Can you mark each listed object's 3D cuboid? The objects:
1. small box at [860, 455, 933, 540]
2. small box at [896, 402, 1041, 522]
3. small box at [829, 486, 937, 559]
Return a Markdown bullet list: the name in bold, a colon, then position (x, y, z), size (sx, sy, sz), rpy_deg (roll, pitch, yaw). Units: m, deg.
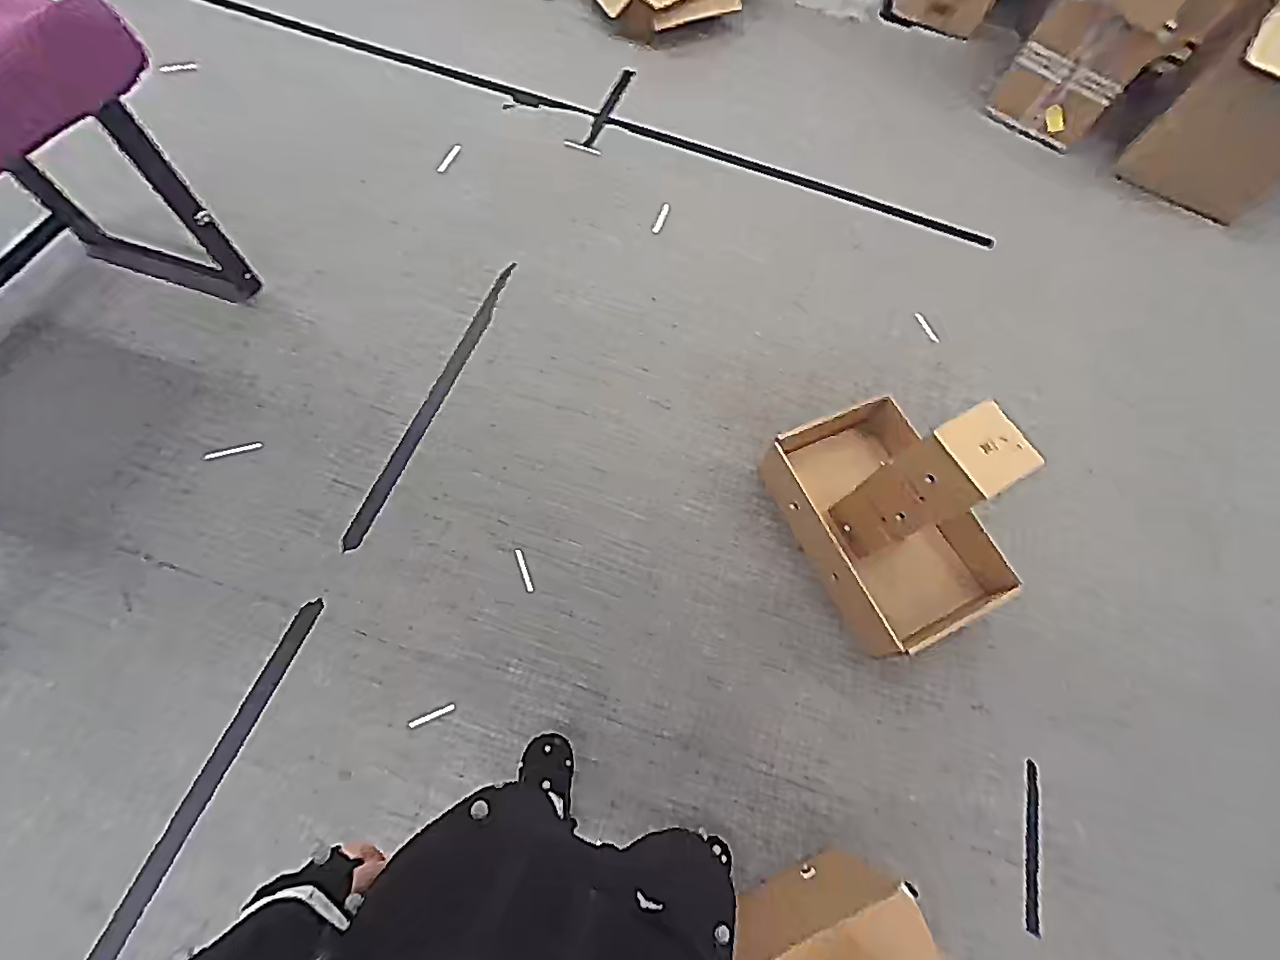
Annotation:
- **small box**: position (0.666, 0.025, 1.312), size (0.179, 0.176, 0.168), rpy_deg (-26, 74, -17)
- **small box**: position (0.685, -0.032, 1.158), size (0.179, 0.176, 0.168), rpy_deg (-27, 75, -16)
- **small box**: position (0.649, 0.093, 1.458), size (0.179, 0.176, 0.168), rpy_deg (-22, 71, -14)
